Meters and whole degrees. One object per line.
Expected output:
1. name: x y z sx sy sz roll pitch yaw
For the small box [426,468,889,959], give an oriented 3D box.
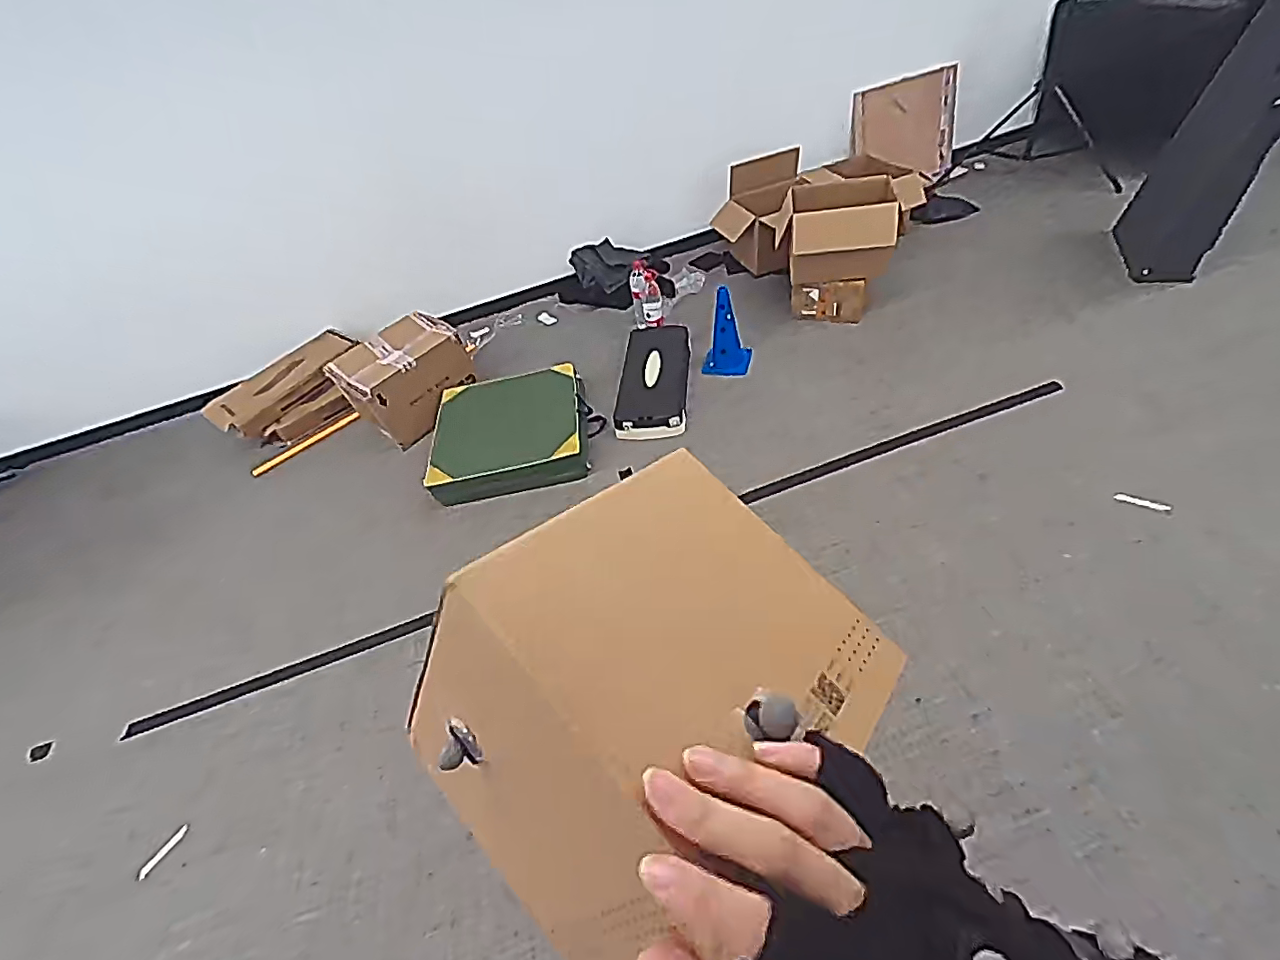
1. small box: 0.001 0.131 0.314 0.176 0.179 0.168 44 45 16
